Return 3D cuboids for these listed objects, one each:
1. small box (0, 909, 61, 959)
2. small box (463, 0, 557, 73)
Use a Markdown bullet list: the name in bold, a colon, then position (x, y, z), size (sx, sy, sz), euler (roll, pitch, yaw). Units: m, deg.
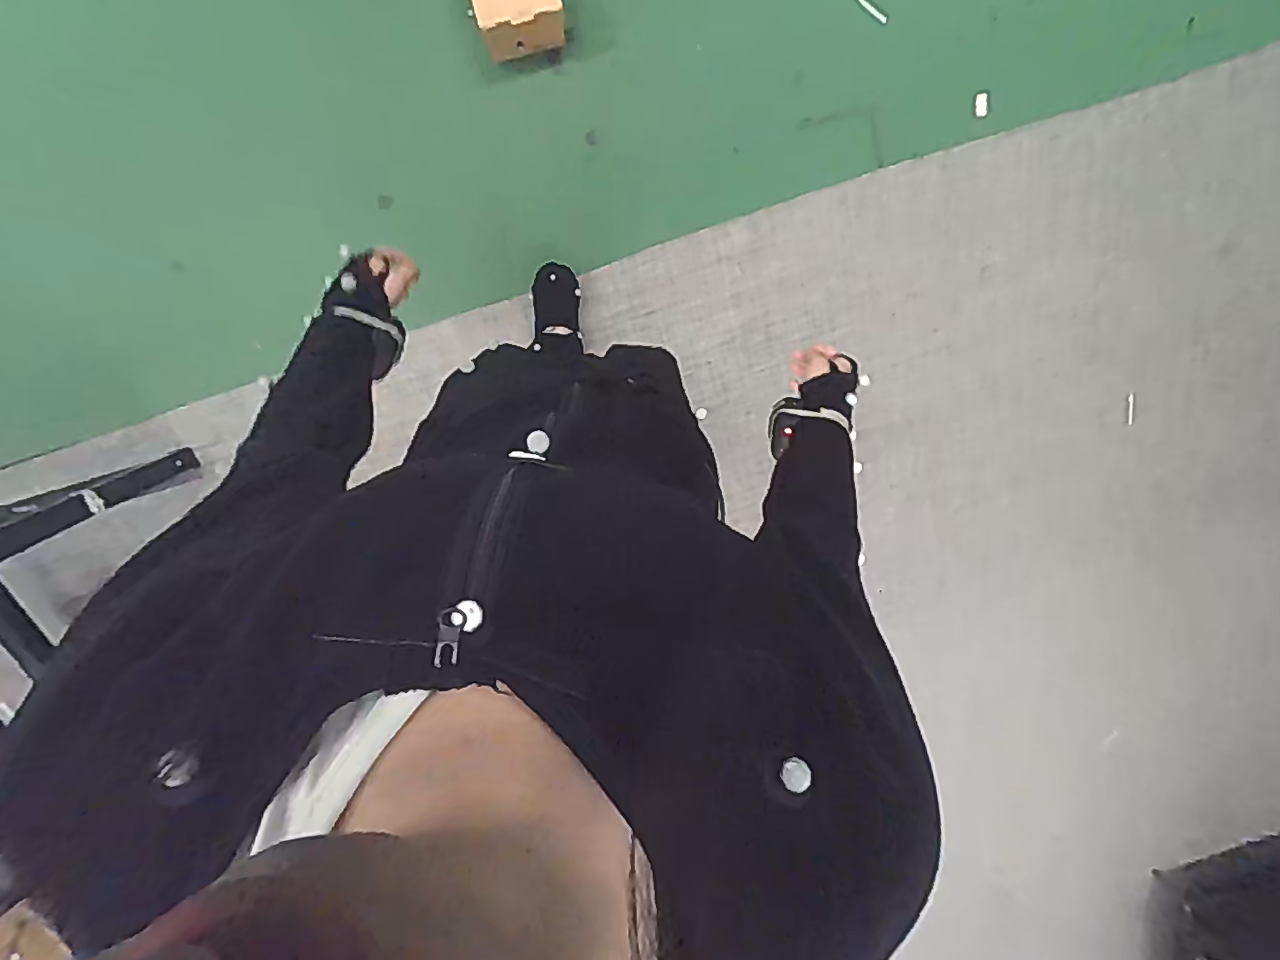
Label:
- **small box**: position (-1.068, 0.804, 0.815), size (0.179, 0.176, 0.168), euler (-18, 111, -1)
- **small box**: position (-0.271, -0.968, 1.088), size (0.168, 0.176, 0.179), euler (-17, 111, -2)
